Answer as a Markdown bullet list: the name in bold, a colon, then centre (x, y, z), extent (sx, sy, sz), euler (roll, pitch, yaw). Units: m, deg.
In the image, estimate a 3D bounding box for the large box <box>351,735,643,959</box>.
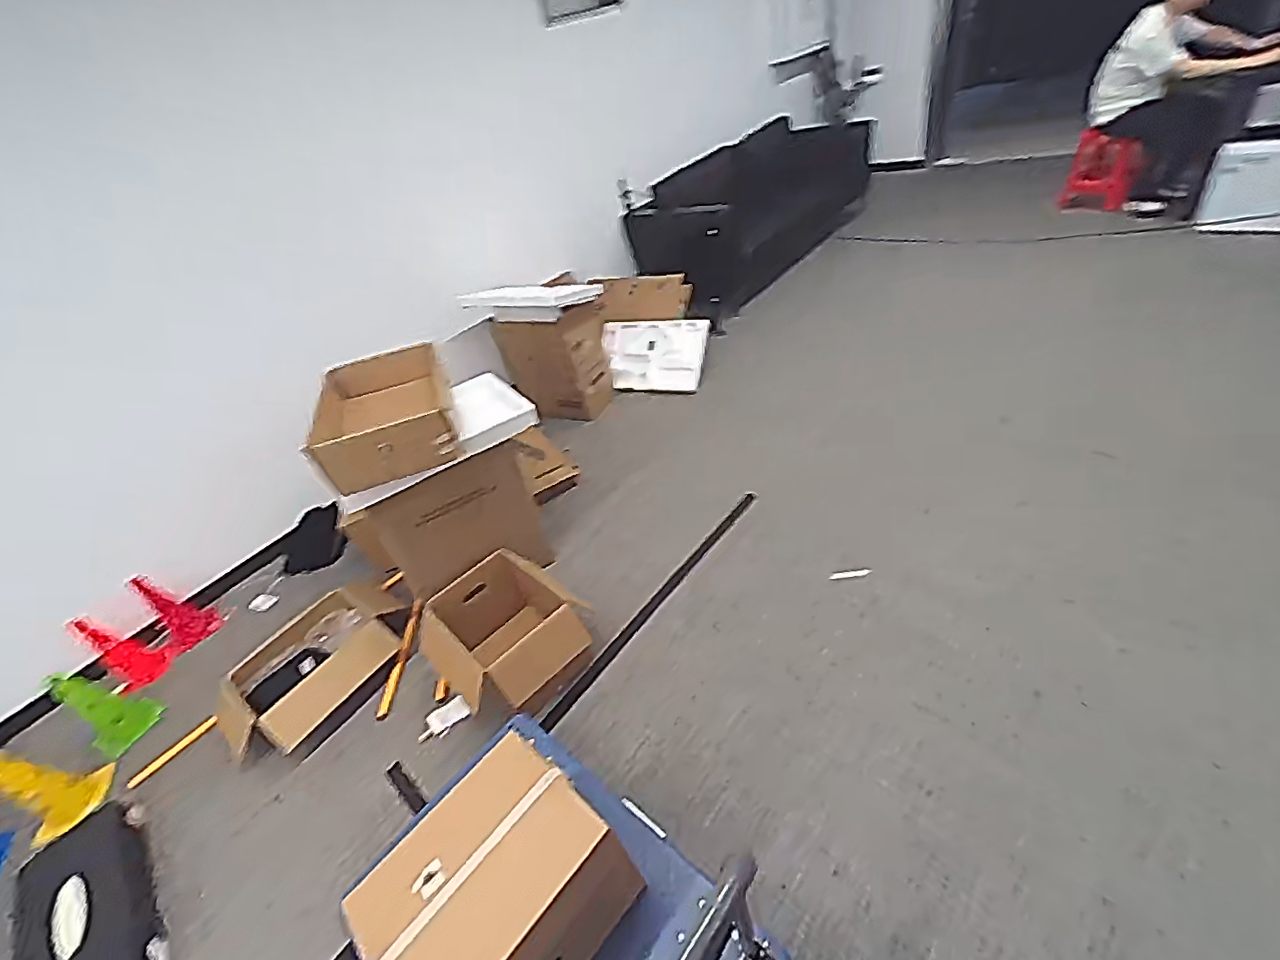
- **large box**: centre (-0.257, 0.821, 1.075), extent (0.320, 0.320, 0.408), euler (20, 51, 40)
